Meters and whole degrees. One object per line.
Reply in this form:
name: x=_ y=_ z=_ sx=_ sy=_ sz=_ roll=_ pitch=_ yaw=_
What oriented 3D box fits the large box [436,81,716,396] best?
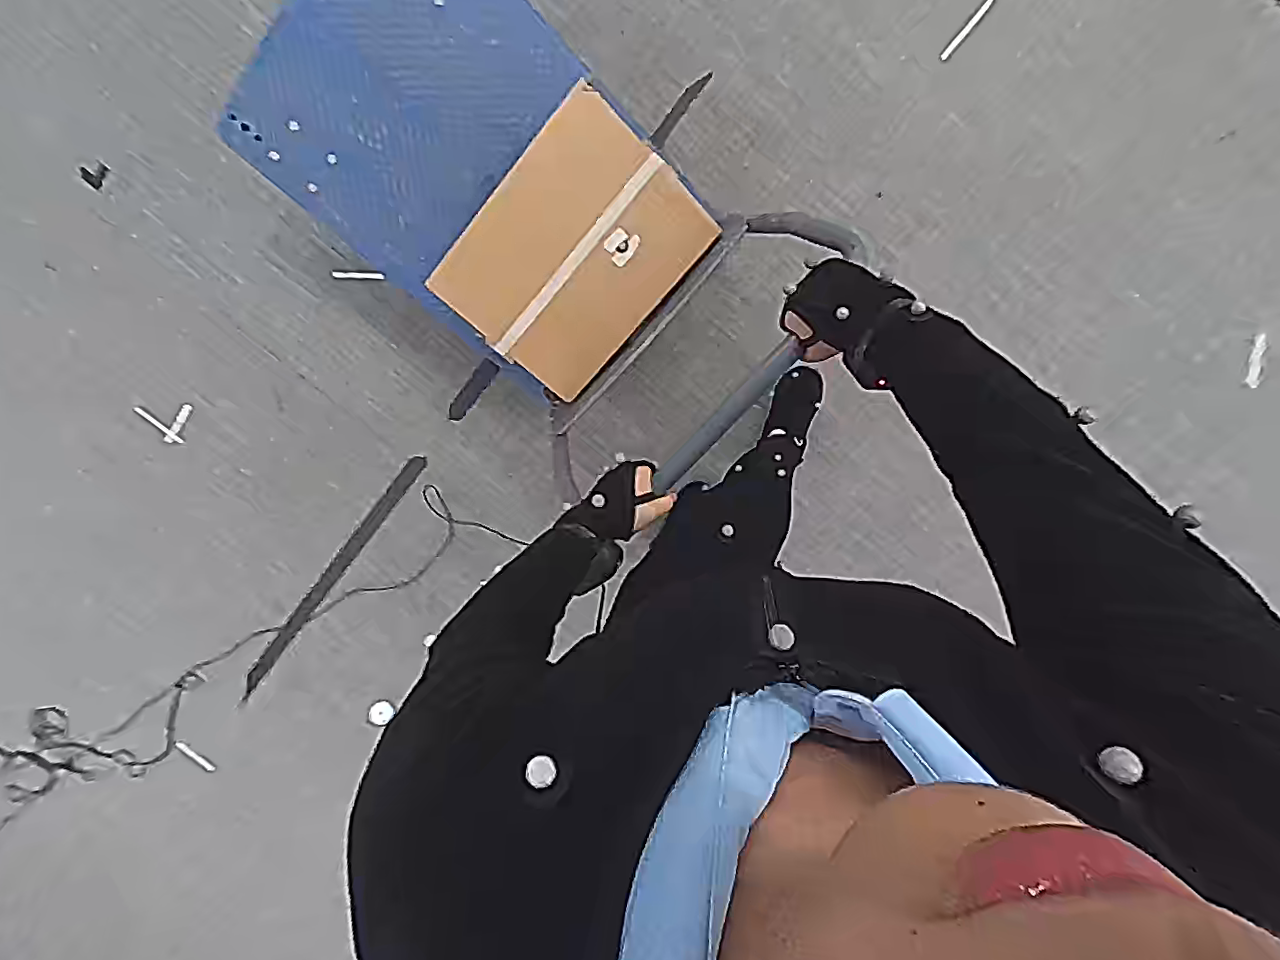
large box: x=-0.125 y=-0.437 z=1.057 sx=0.320 sy=0.320 sz=0.408 roll=38 pitch=102 yaw=-20
